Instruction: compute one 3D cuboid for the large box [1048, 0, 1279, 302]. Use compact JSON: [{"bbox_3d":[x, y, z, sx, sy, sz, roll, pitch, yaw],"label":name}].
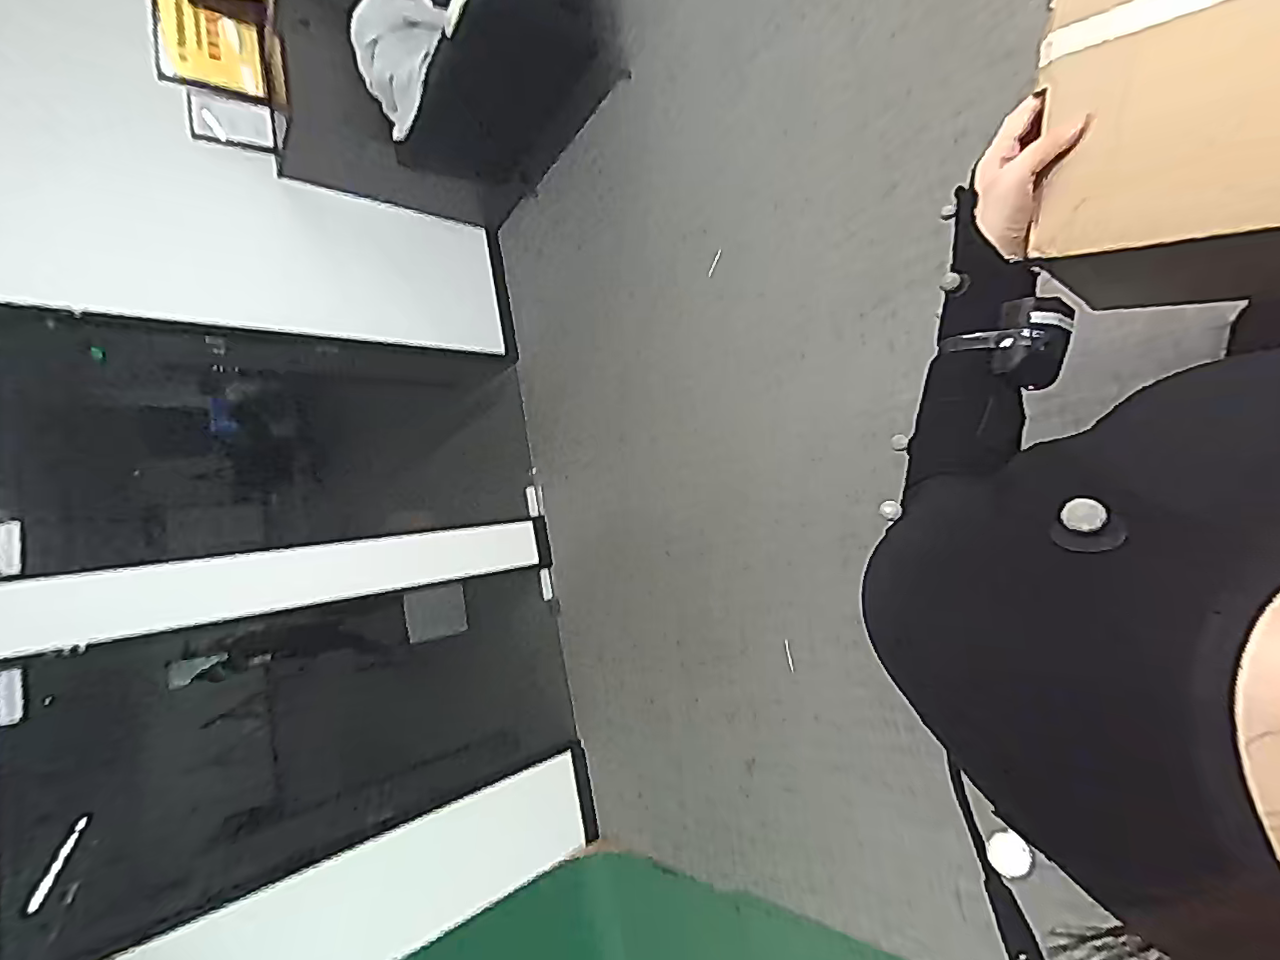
[{"bbox_3d":[0.570,-0.325,0.373,0.408,0.320,0.320,11,102,45],"label":"large box"}]
